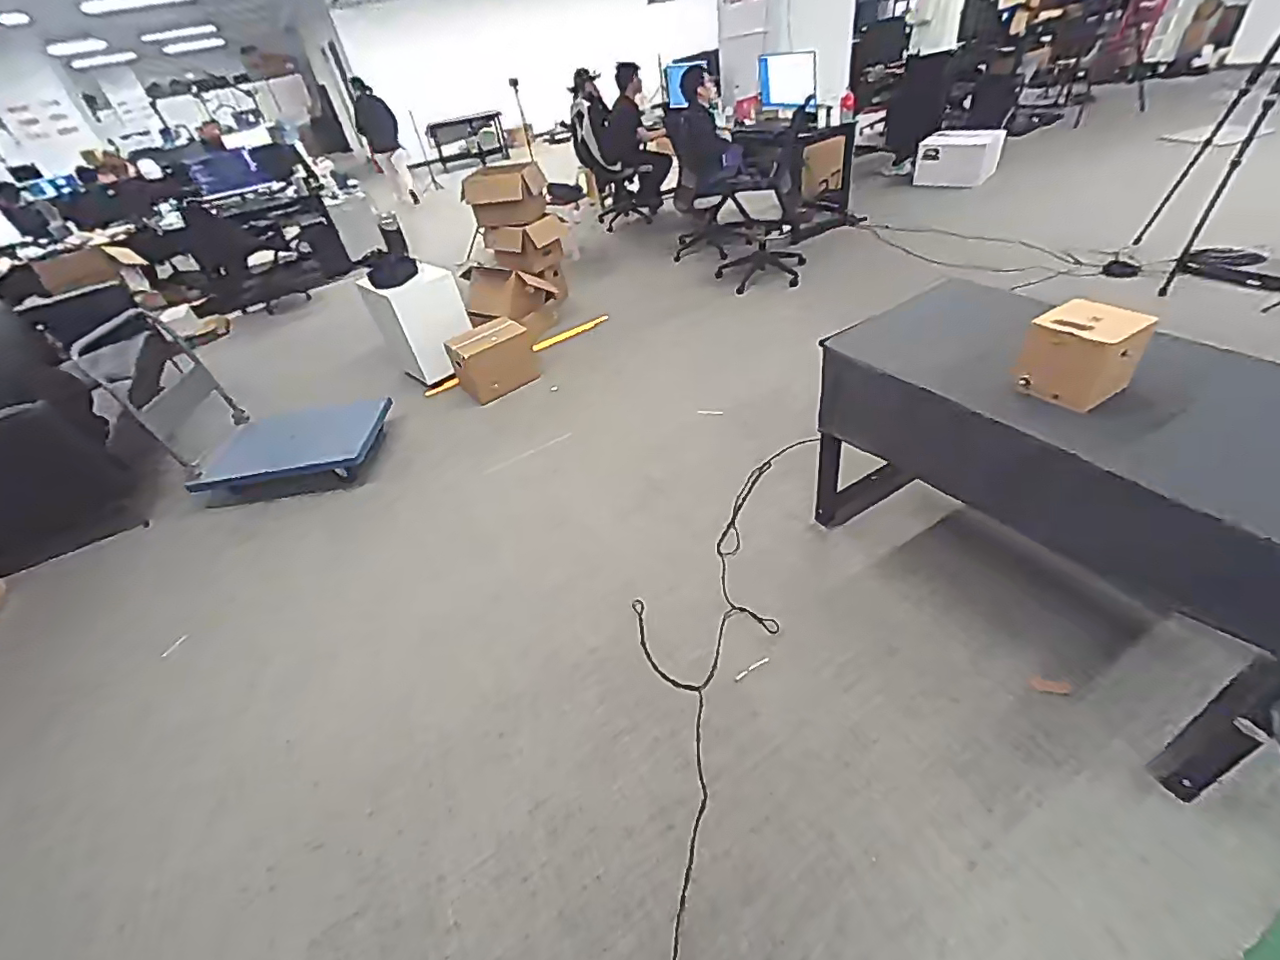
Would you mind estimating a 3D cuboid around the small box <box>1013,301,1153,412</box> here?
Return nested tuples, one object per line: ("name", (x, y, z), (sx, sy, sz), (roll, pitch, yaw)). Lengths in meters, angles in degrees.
("small box", (0.980, -0.277, 1.216), (0.179, 0.176, 0.168), (-26, 41, -18))
